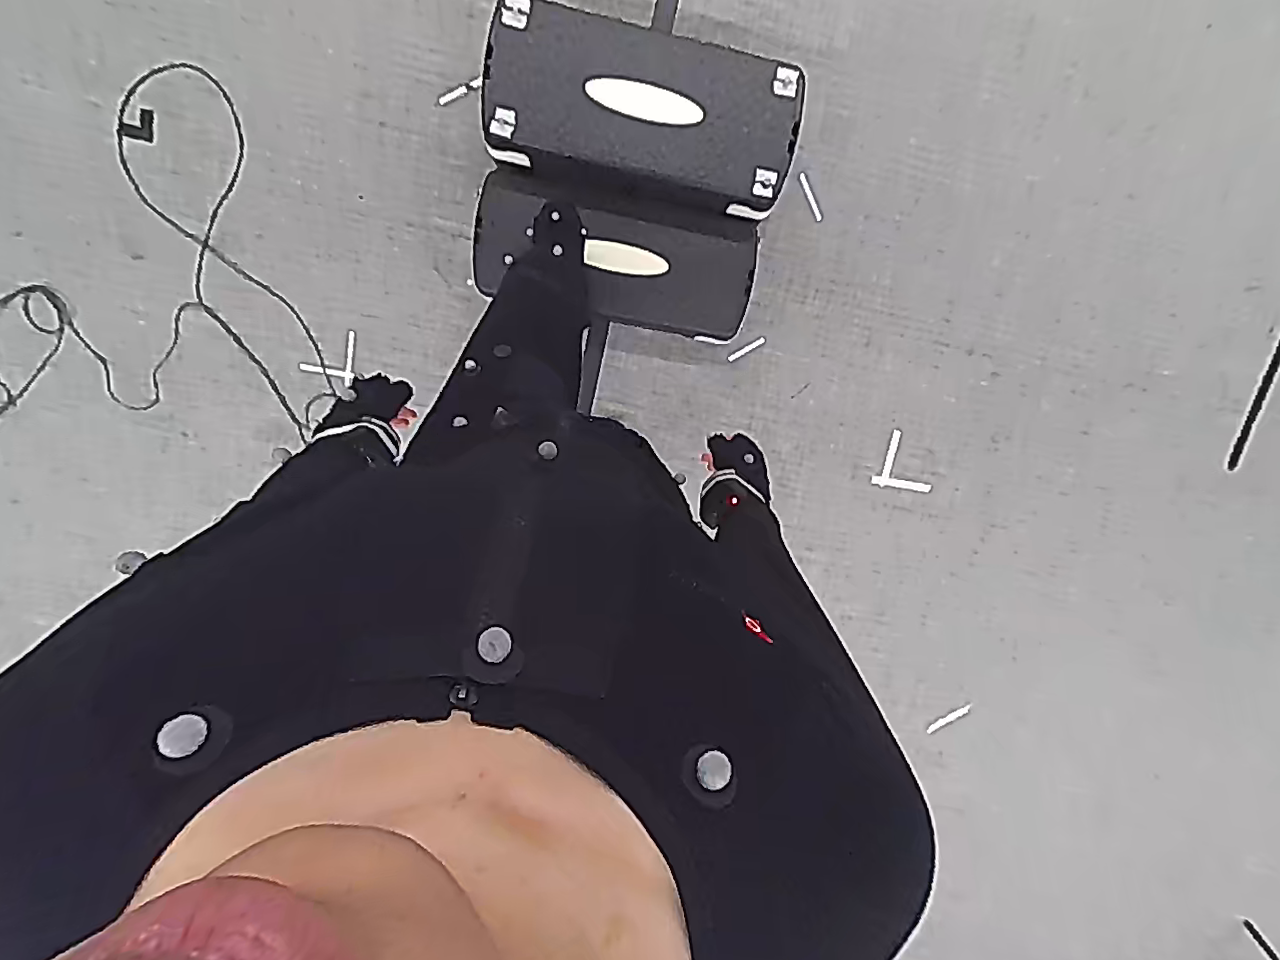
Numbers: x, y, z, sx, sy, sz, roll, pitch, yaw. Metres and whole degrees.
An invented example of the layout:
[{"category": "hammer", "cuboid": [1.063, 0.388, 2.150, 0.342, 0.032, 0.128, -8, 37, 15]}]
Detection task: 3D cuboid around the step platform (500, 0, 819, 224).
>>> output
[{"category": "step platform", "cuboid": [0.038, -0.802, 1.210, 0.684, 0.204, 0.286, 10, 102, -6]}]
